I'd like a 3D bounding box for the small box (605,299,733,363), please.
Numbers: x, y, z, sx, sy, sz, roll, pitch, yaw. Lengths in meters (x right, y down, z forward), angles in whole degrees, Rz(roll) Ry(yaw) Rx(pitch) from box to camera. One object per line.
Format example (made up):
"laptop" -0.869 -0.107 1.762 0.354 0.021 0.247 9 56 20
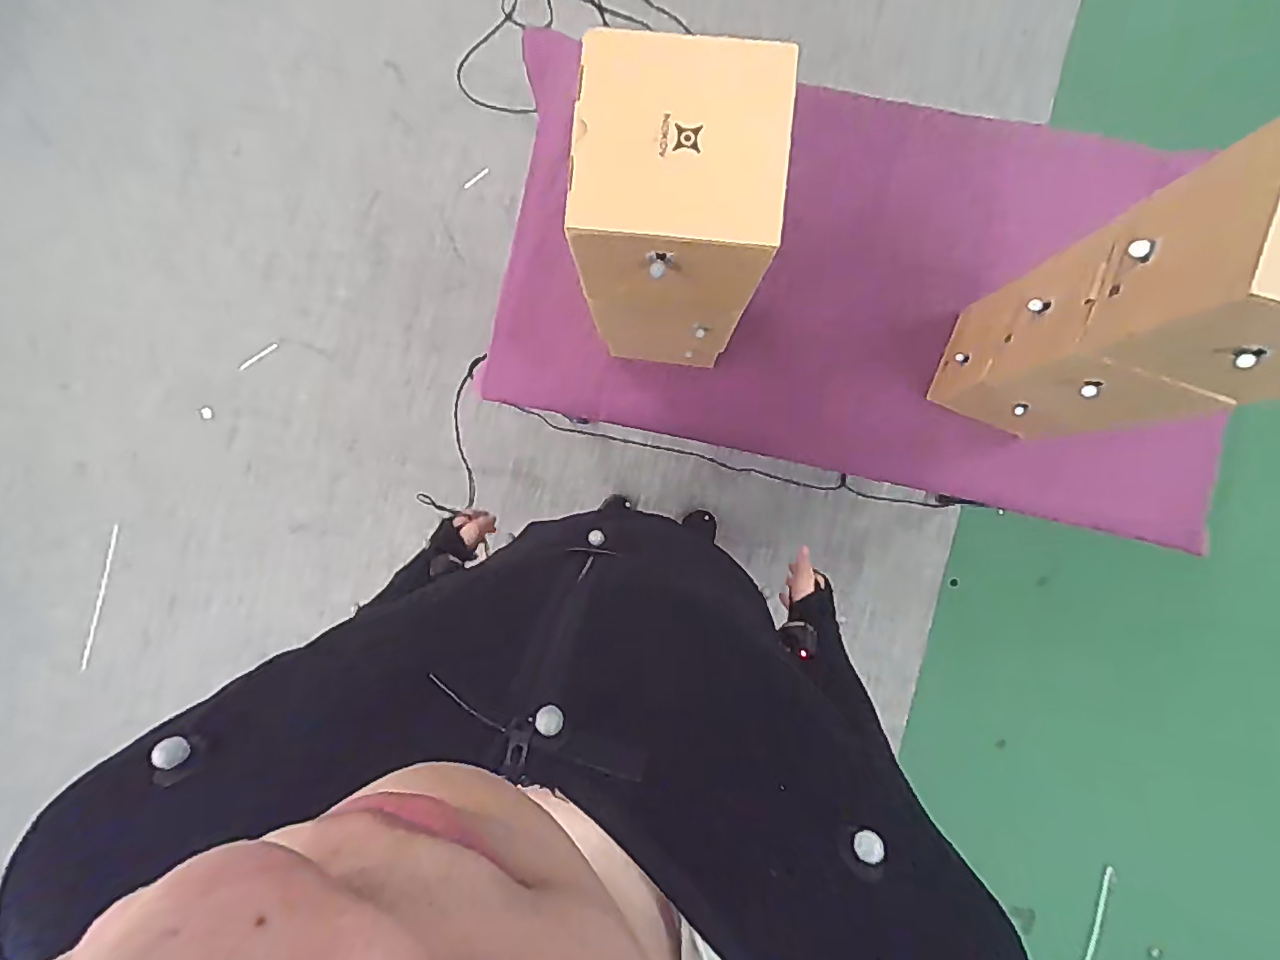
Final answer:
"small box" 0.050 -0.285 0.838 0.179 0.176 0.168 7 90 2

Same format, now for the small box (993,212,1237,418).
"small box" 0.578 -0.184 0.656 0.179 0.176 0.168 20 91 3

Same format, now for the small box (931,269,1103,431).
"small box" 0.584 -0.183 0.820 0.179 0.176 0.168 23 90 2

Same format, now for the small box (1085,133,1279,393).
"small box" 0.575 -0.187 0.491 0.179 0.176 0.168 19 90 3

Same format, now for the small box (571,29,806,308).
"small box" 0.040 -0.271 0.511 0.179 0.176 0.168 6 91 2
